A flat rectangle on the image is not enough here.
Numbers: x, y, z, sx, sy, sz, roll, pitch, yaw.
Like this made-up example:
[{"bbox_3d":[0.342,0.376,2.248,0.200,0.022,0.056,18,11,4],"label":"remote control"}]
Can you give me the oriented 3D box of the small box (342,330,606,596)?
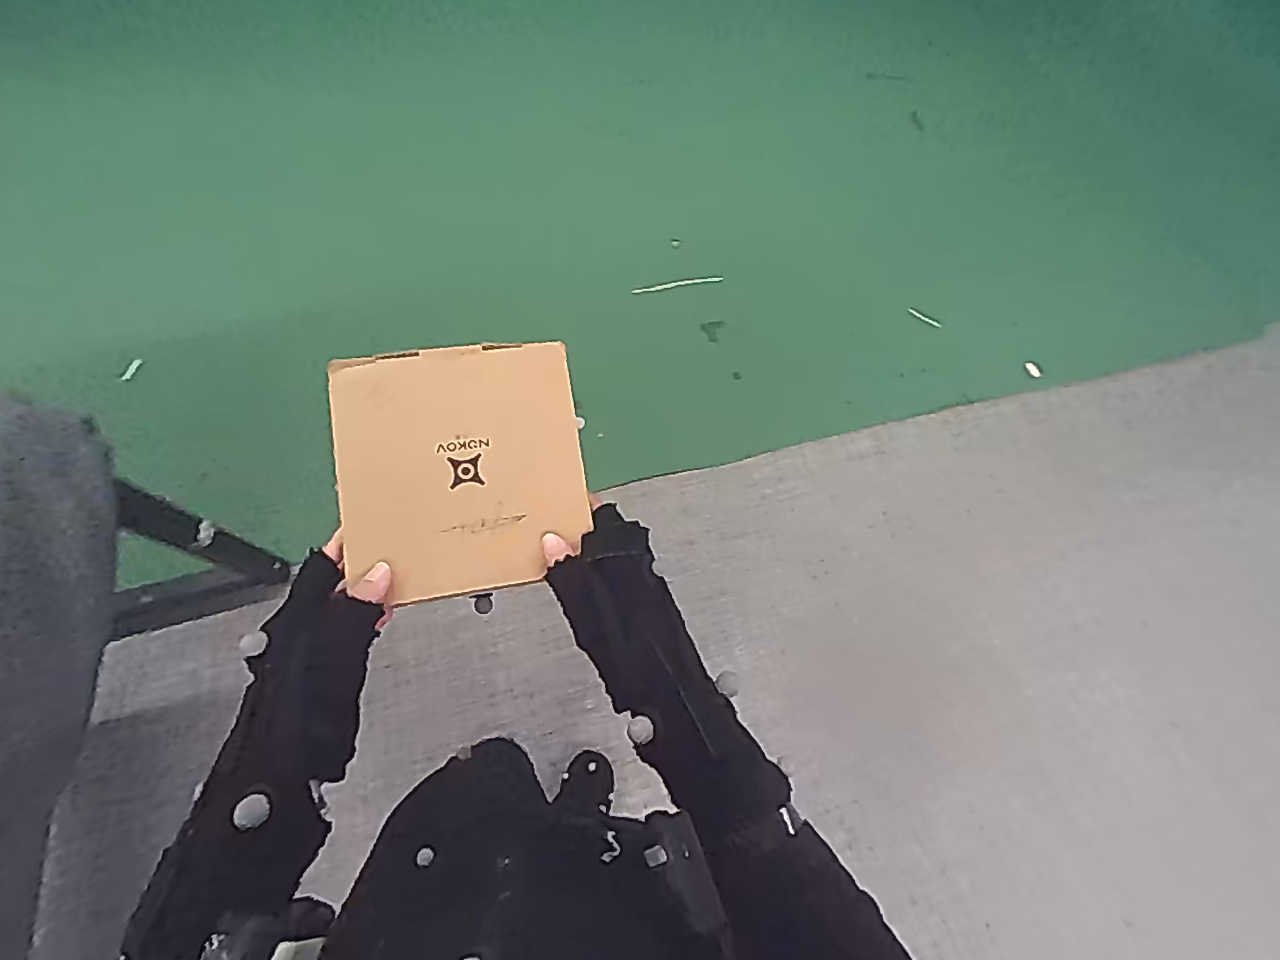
[{"bbox_3d":[-0.125,-0.002,0.440,0.168,0.176,0.179,-6,80,-10],"label":"small box"}]
